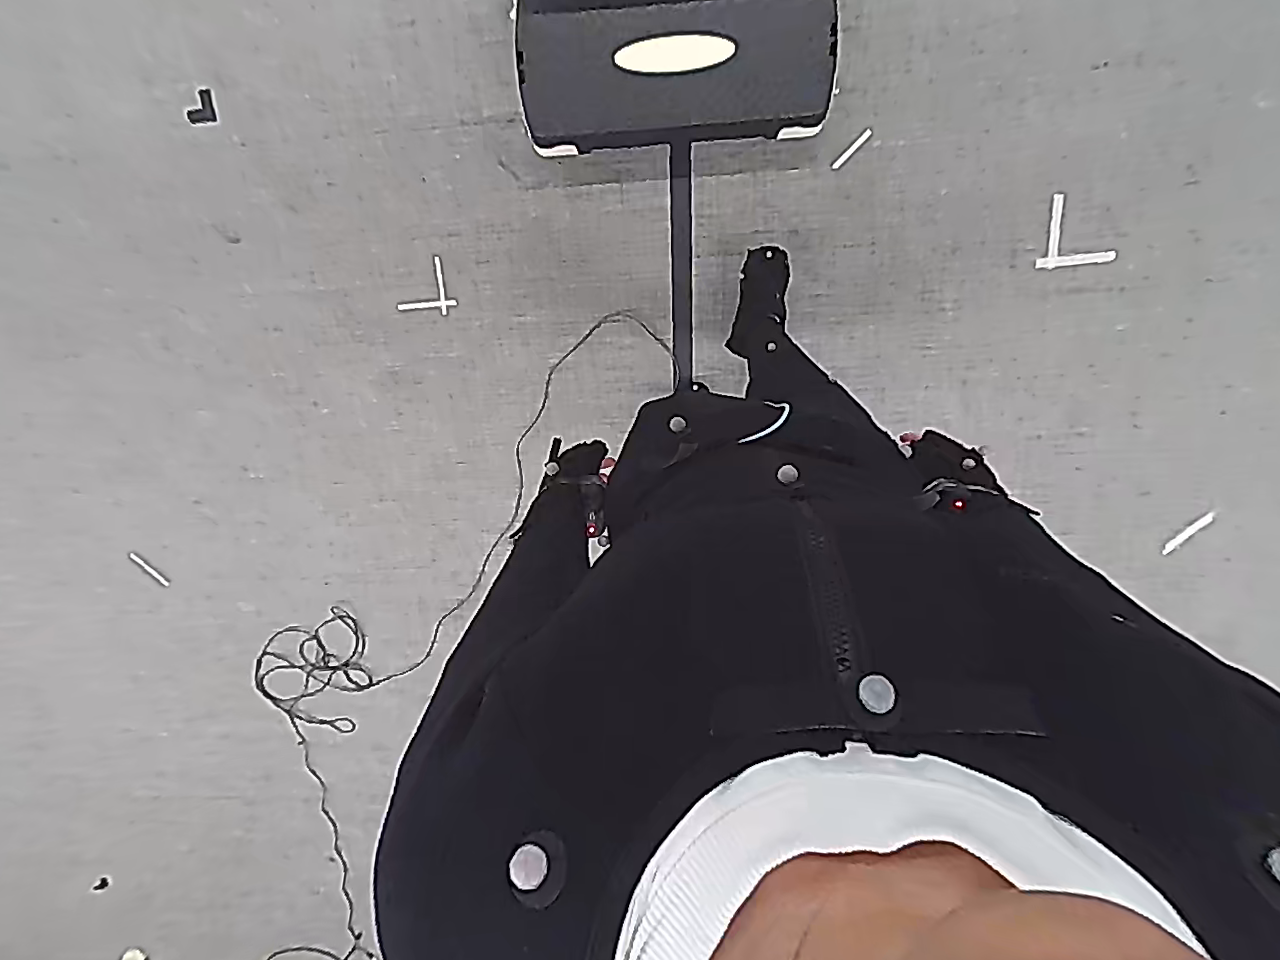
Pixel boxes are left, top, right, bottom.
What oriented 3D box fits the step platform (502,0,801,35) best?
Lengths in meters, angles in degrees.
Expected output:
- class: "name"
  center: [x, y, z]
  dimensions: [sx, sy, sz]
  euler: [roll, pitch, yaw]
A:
- class: "step platform"
  center: [0.035, -1.119, 1.060]
  dimensions: [0.684, 0.204, 0.286]
  euler: [-3, 105, 3]
